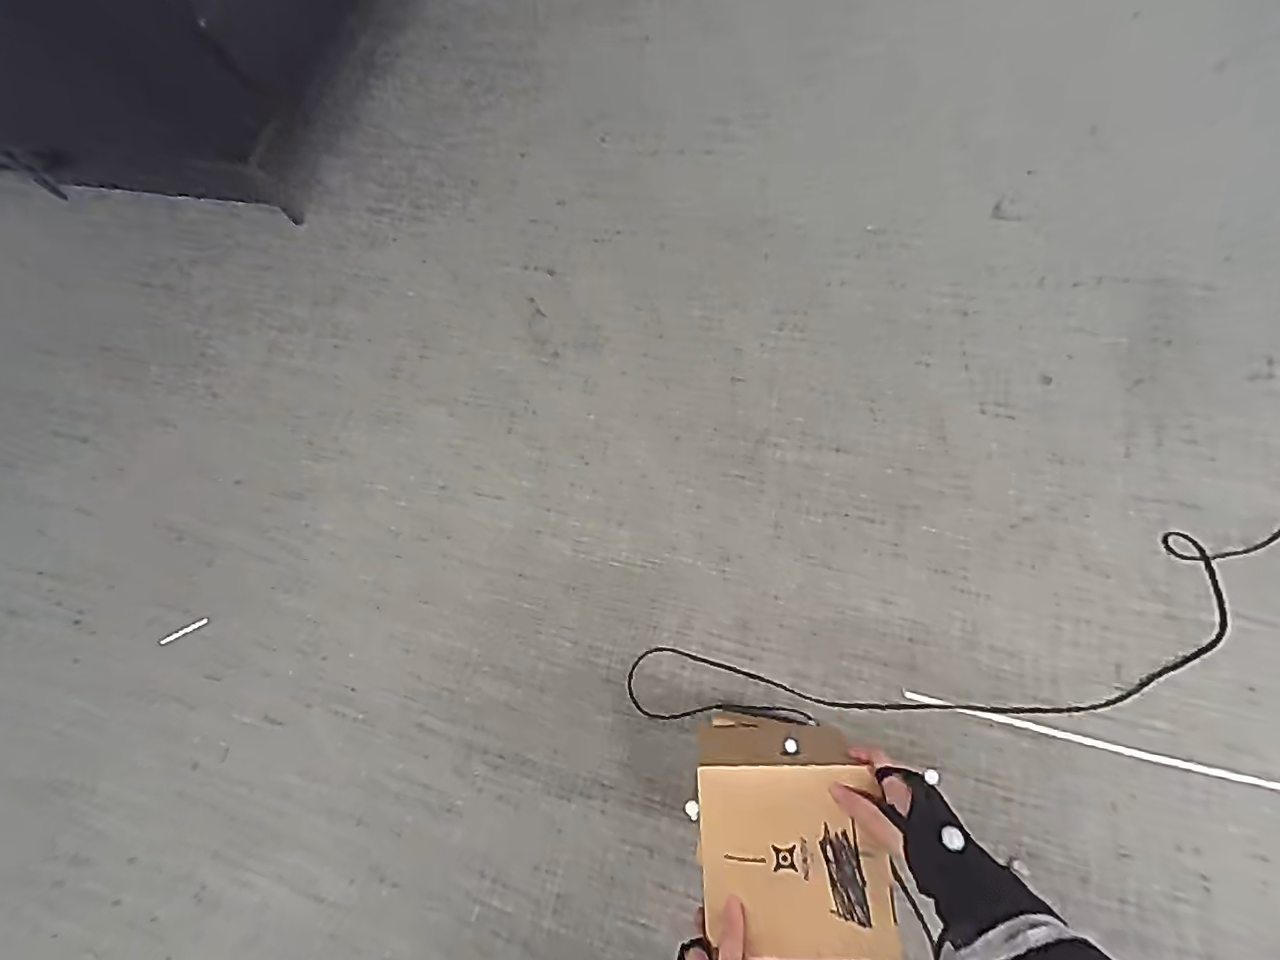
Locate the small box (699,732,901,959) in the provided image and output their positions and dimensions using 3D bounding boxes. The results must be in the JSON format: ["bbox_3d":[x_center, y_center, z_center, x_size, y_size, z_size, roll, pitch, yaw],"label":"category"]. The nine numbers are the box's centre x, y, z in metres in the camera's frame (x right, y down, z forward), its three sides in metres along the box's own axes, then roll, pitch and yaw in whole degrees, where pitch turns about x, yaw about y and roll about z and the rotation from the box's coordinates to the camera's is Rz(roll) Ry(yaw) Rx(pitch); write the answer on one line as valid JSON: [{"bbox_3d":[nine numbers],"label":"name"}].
[{"bbox_3d":[0.157,0.382,0.590,0.179,0.176,0.168,-5,77,7],"label":"small box"}]
